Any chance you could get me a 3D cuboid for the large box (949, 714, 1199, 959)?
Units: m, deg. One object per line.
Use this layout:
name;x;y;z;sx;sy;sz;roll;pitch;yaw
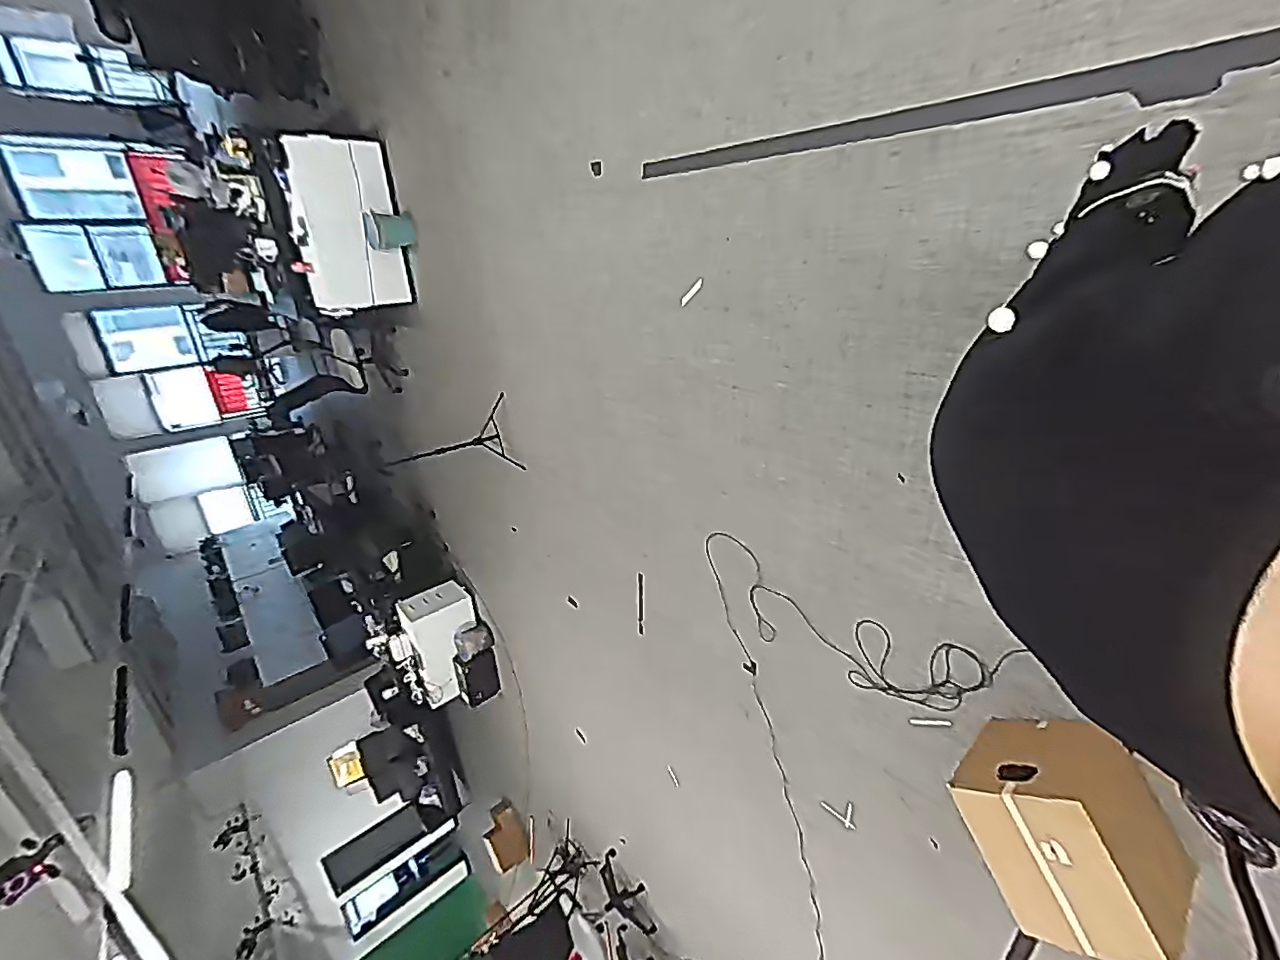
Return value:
large box;1.088;0.863;1.368;0.320;0.320;0.408;-34;79;53
